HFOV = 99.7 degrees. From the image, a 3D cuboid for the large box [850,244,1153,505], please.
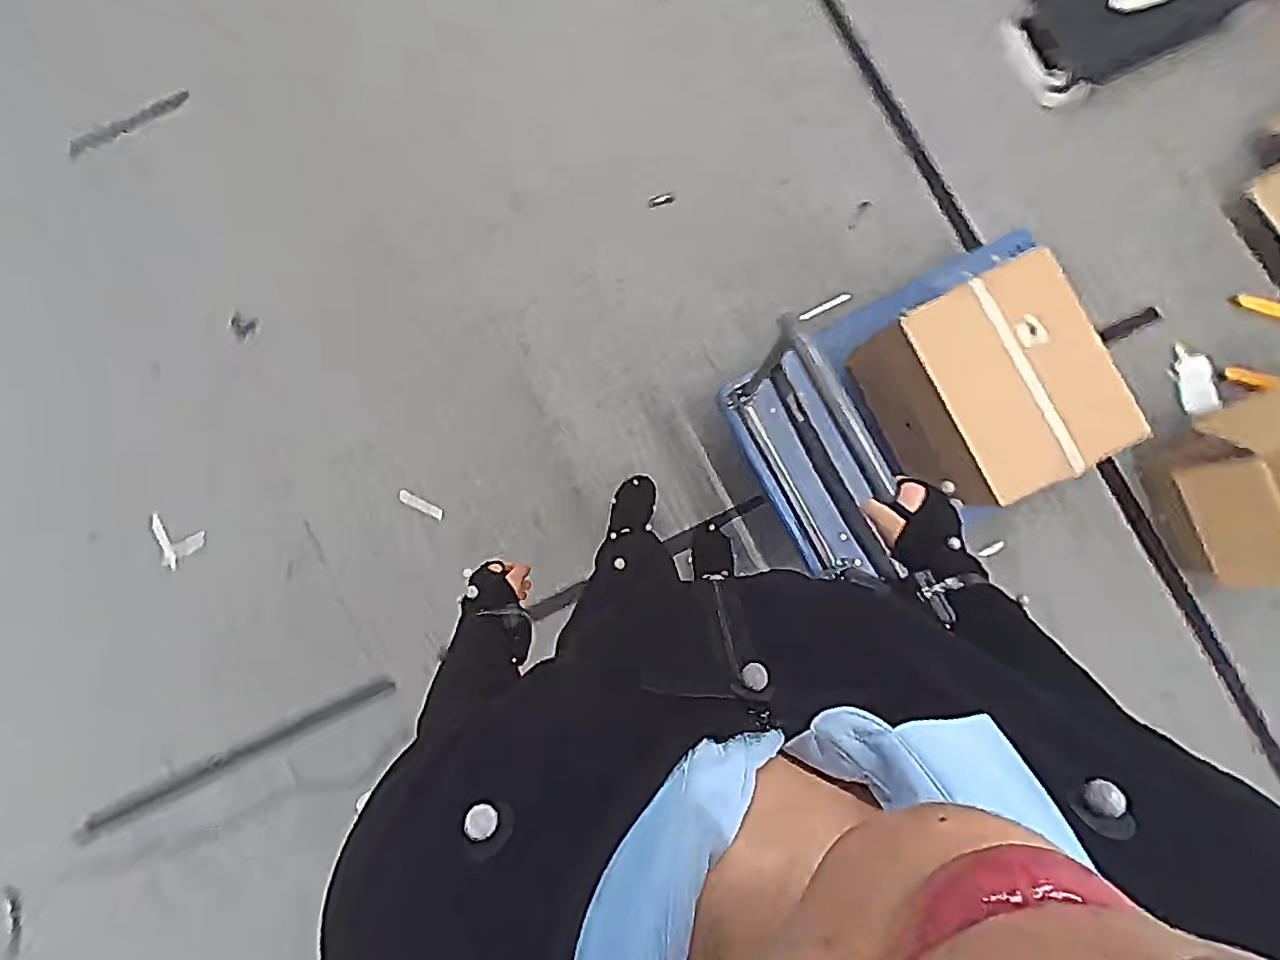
[{"bbox_3d":[0.718,-0.191,1.146,0.320,0.320,0.408,-26,85,0],"label":"large box"}]
